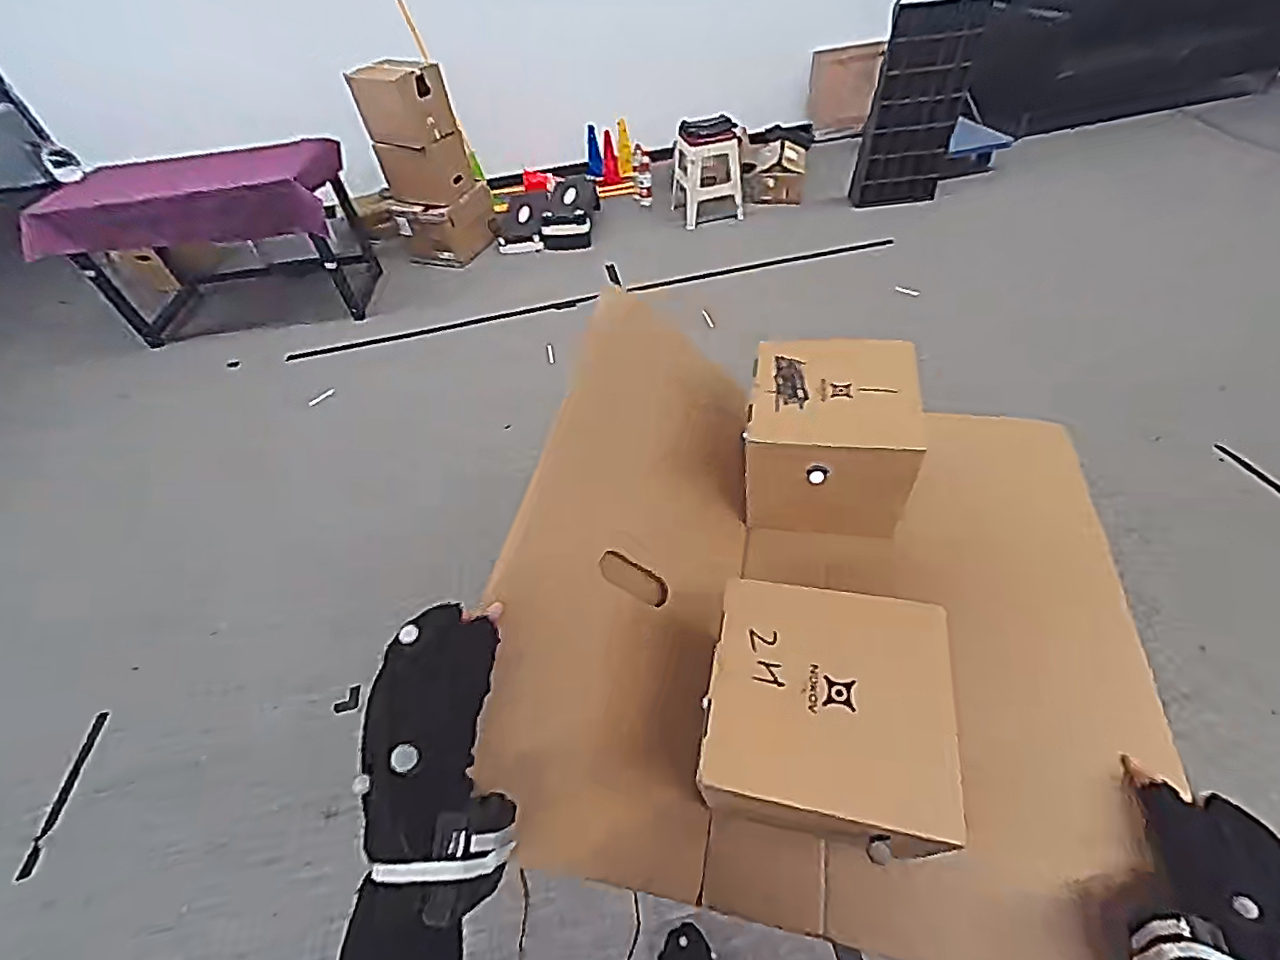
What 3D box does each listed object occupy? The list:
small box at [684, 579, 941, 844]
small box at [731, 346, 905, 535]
[{"bbox_3d":[0.147,0.209,0.484,0.179,0.176,0.168,5,54,16],"label":"small box"},{"bbox_3d":[0.209,-0.046,0.666,0.179,0.176,0.168,3,54,13],"label":"small box"}]
